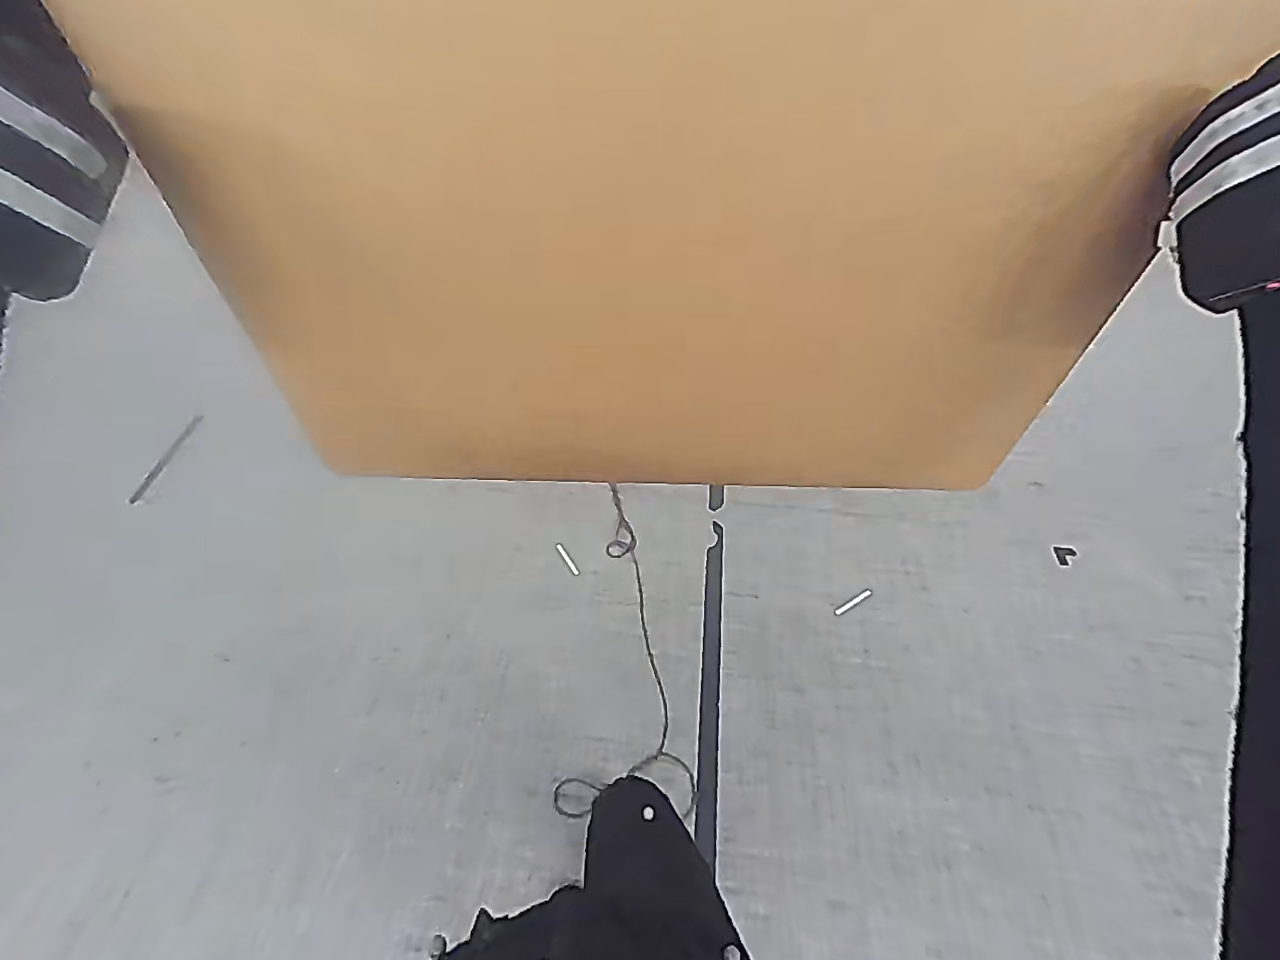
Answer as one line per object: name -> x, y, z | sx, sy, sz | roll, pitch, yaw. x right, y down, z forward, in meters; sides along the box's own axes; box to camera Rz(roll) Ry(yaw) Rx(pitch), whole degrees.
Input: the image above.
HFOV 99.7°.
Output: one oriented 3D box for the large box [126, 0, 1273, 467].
large box -> 0.017, -0.220, 0.338 | 0.408, 0.320, 0.320 | 1, 48, -1
